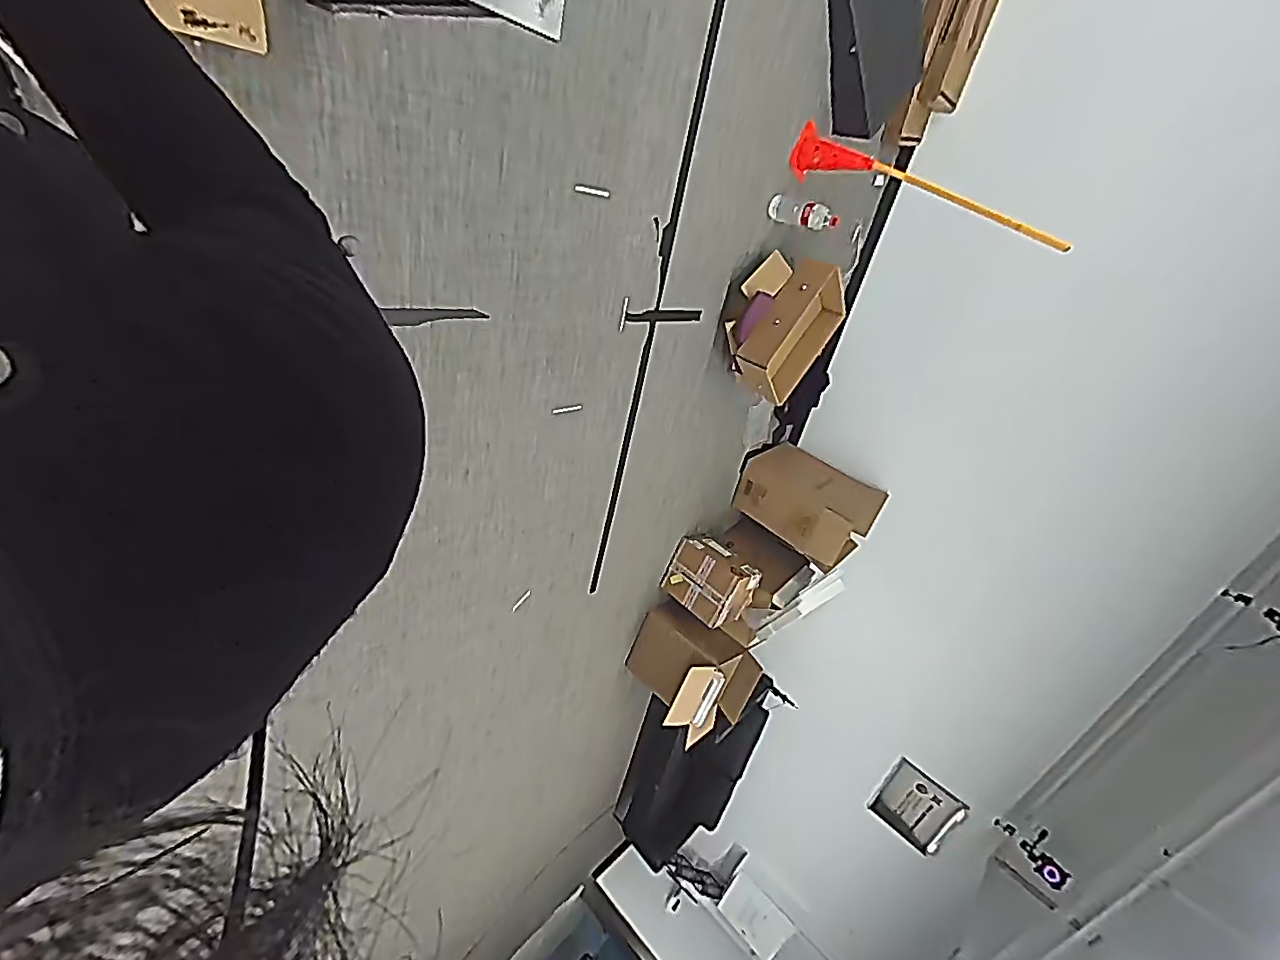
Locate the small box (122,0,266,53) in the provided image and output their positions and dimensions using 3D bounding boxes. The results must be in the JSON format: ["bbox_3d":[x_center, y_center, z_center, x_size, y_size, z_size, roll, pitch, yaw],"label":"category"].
[{"bbox_3d":[-0.759,-0.848,0.904,0.168,0.176,0.179,-19,132,-44],"label":"small box"}]
